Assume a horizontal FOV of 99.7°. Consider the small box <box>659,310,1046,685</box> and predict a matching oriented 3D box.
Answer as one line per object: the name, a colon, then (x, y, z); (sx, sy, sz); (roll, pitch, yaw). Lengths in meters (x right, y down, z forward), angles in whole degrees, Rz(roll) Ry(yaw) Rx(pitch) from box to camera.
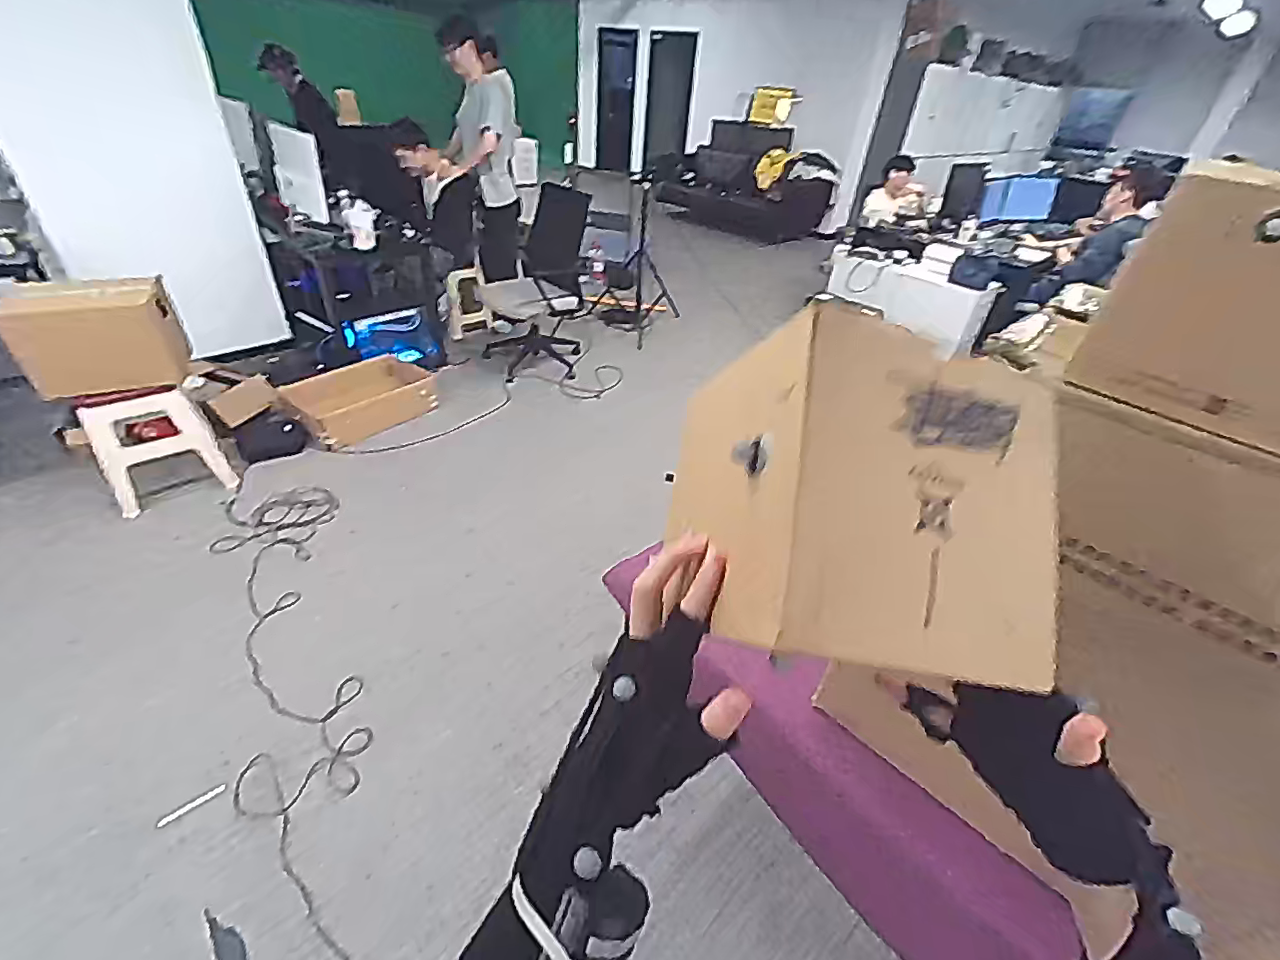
small box: (0.122, 0.025, 0.358); (0.168, 0.176, 0.179); (13, 74, -16)
